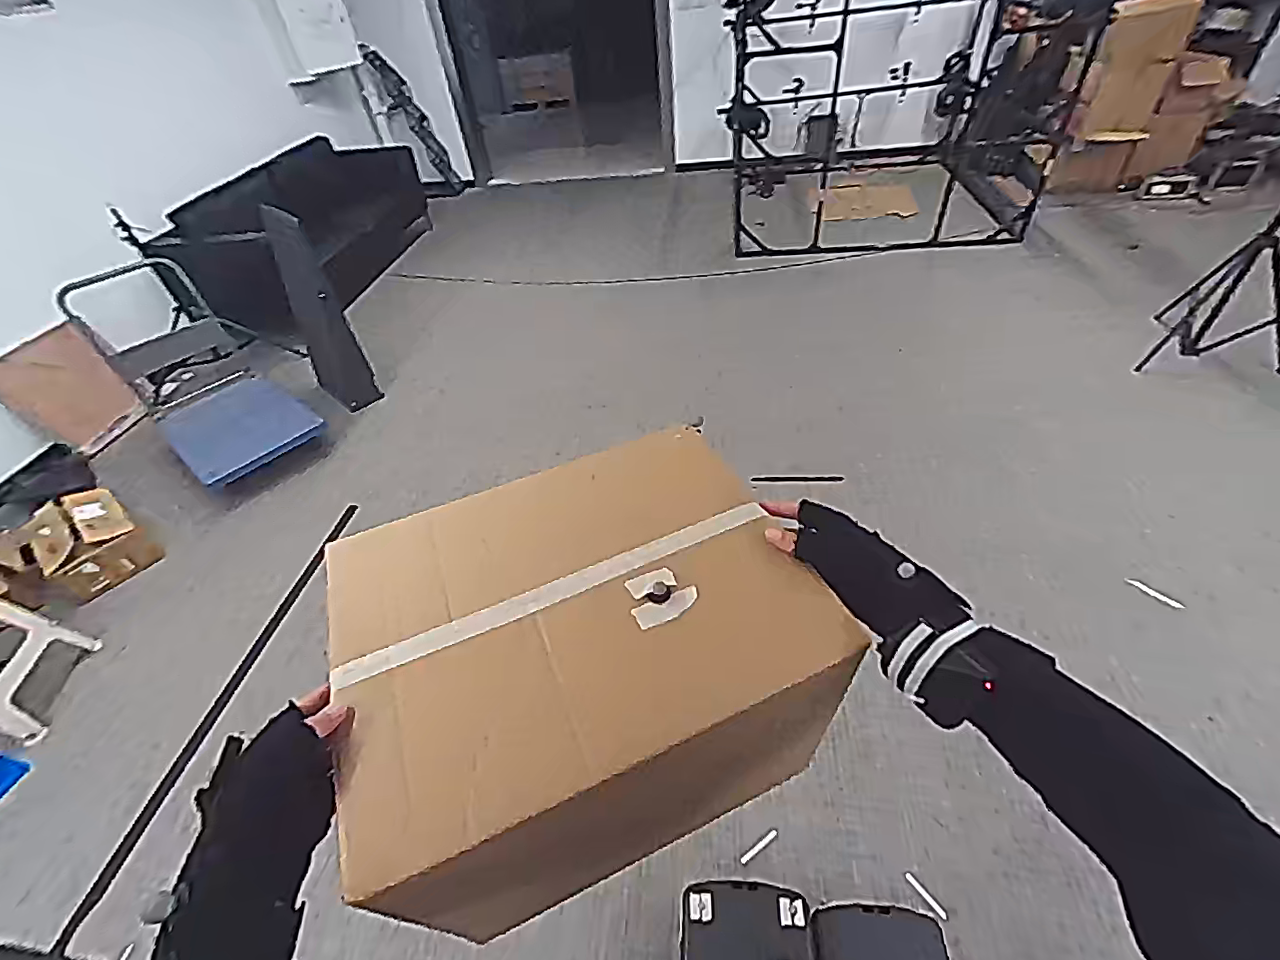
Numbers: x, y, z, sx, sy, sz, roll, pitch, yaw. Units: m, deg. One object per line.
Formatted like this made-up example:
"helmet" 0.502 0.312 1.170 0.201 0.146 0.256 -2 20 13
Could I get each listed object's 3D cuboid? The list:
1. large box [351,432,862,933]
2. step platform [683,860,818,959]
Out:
"large box" -0.045 0.207 0.604 0.408 0.320 0.320 -20 48 -15
"step platform" 0.226 1.166 1.065 0.286 0.204 0.684 -2 43 7
